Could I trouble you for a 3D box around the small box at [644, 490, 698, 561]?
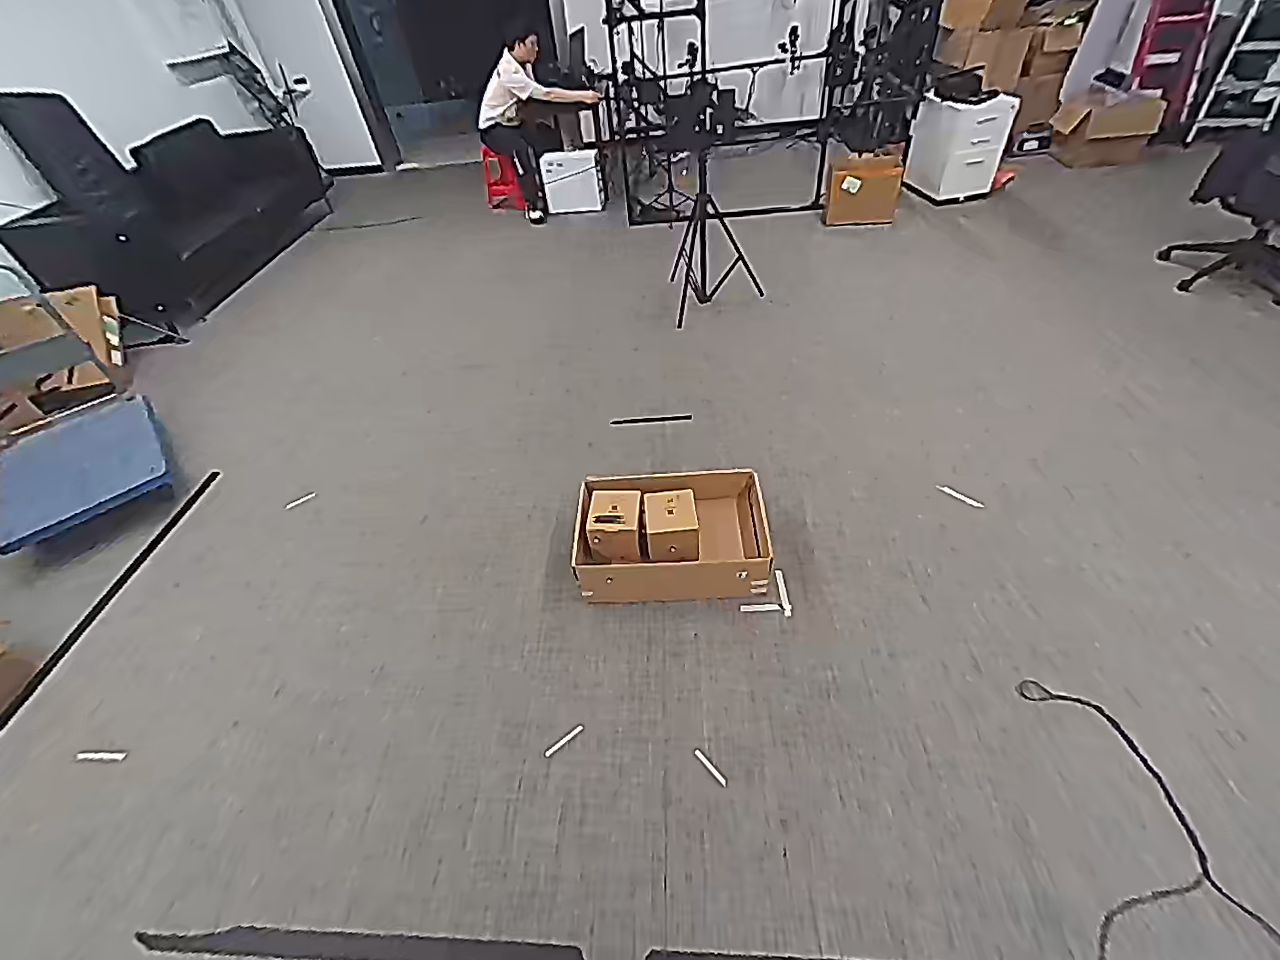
[{"bbox_3d":[0.104,0.158,1.810,0.168,0.176,0.179,-6,44,1],"label":"small box"}]
